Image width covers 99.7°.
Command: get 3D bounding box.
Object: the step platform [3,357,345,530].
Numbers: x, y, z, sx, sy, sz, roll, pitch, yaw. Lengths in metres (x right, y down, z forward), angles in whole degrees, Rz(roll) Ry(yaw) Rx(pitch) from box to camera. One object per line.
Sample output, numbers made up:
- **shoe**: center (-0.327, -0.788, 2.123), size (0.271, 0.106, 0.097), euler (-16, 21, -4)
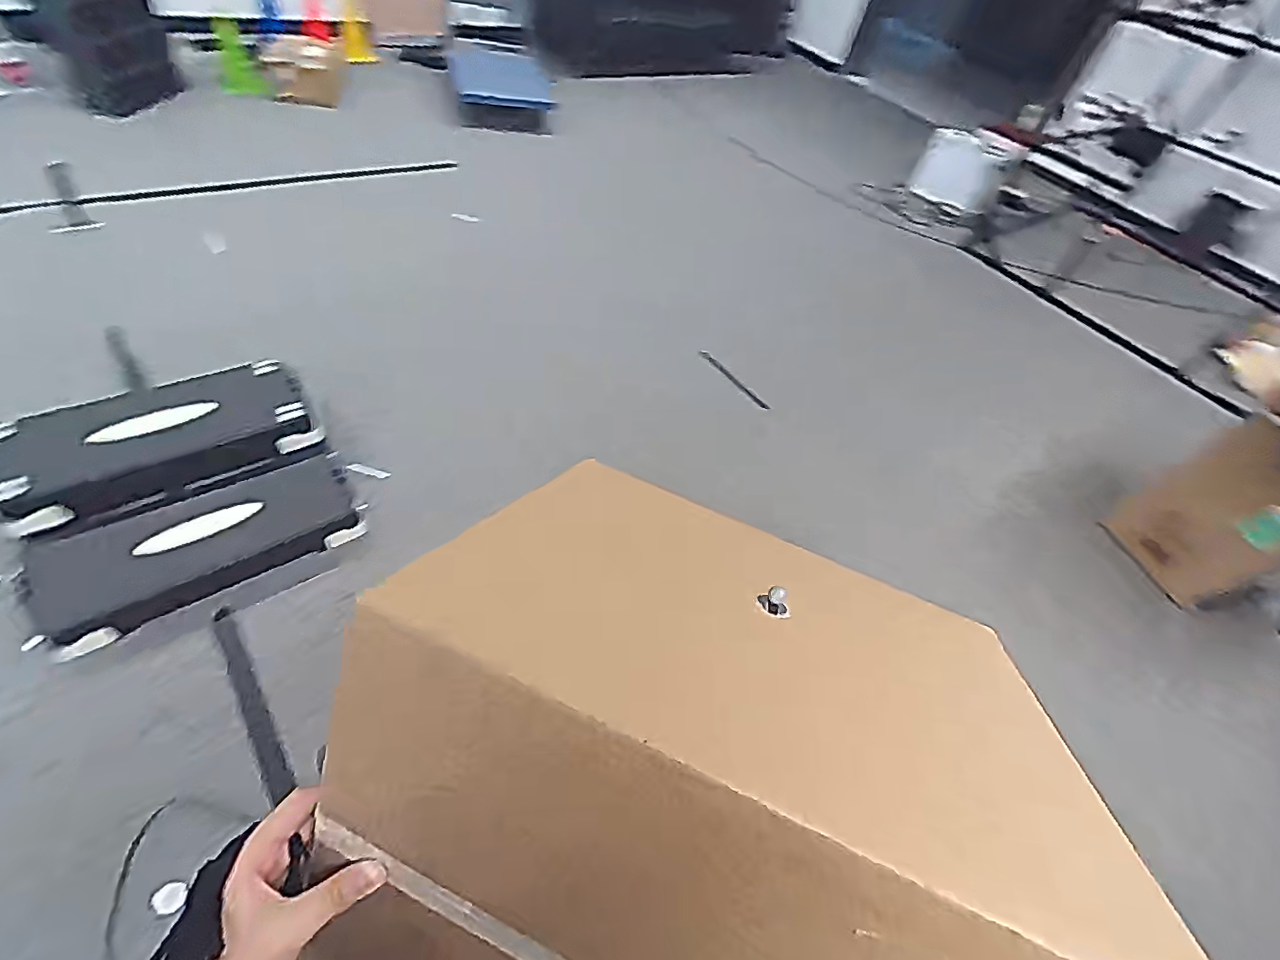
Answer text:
- **step platform**: center (-1.199, -0.124, 1.452), size (0.684, 0.204, 0.286), euler (-19, 59, -28)
